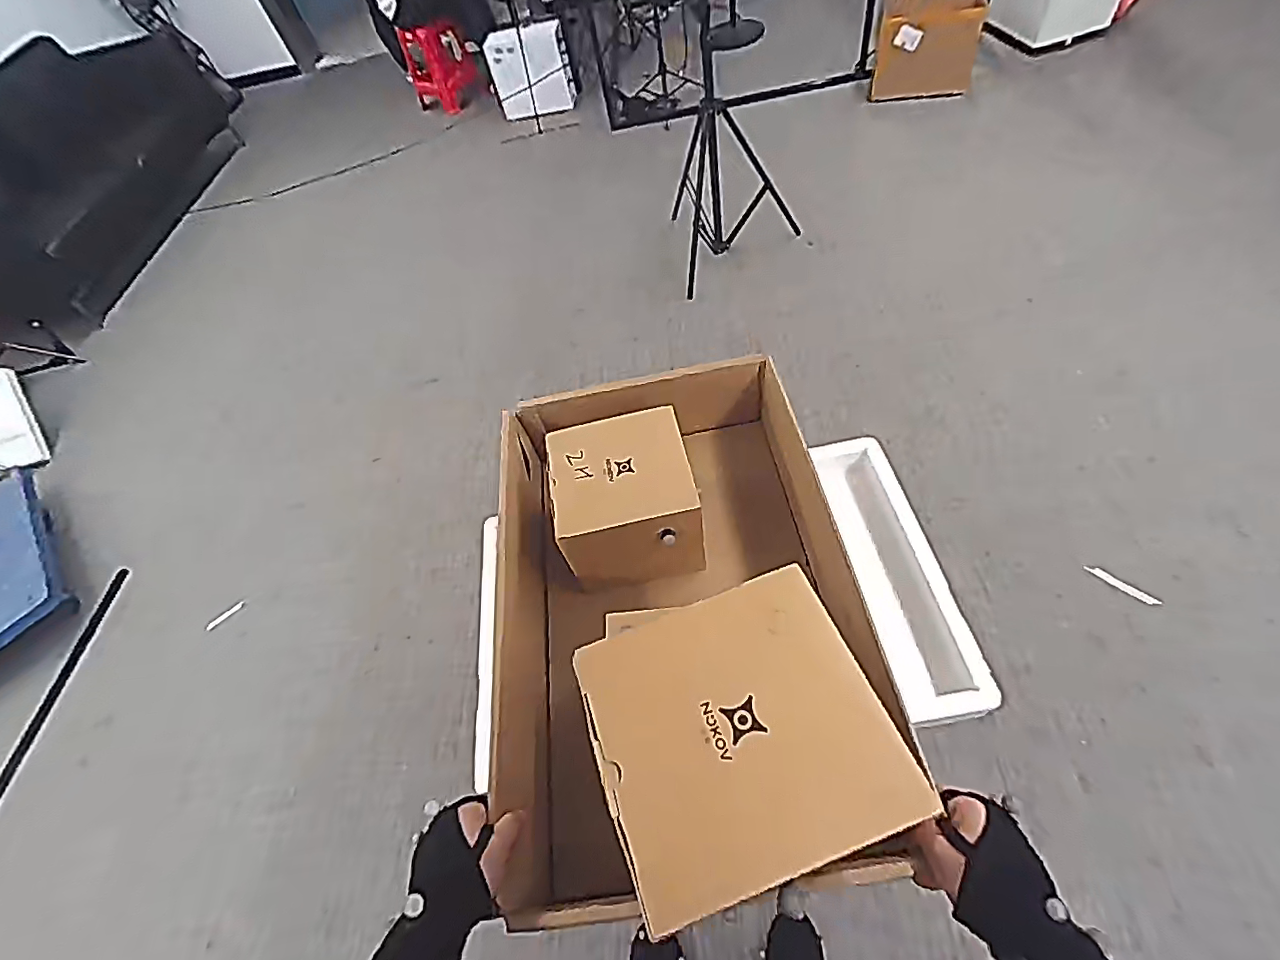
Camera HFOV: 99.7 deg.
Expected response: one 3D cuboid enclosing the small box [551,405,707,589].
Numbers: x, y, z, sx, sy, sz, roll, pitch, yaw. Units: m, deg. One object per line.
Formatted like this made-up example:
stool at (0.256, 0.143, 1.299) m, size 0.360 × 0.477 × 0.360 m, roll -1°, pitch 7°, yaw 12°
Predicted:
small box at (-0.012, 0.028, 0.733) m, size 0.179 × 0.176 × 0.168 m, roll -12°, pitch 54°, yaw 0°
